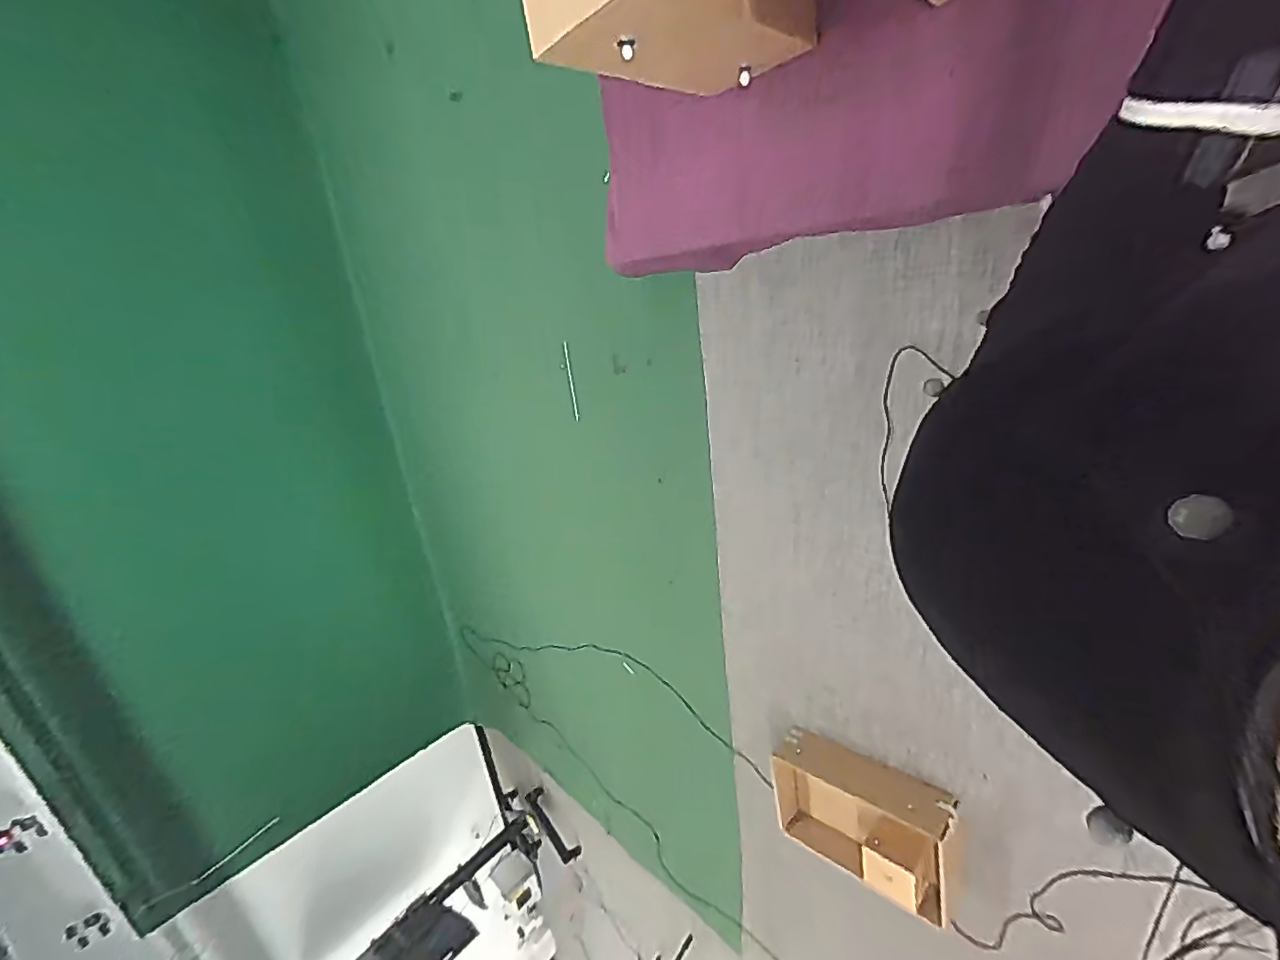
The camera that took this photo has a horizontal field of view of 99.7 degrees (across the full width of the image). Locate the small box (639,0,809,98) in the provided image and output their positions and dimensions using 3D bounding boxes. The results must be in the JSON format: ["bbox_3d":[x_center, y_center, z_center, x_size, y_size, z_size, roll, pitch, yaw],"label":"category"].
[{"bbox_3d":[0.104,-0.622,0.695,0.179,0.176,0.168,10,116,44],"label":"small box"}]

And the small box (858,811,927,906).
[{"bbox_3d":[0.884,1.304,1.880,0.179,0.176,0.168,7,113,47],"label":"small box"}]

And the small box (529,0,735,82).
[{"bbox_3d":[-0.010,-0.568,0.589,0.179,0.176,0.168,10,117,45],"label":"small box"}]
